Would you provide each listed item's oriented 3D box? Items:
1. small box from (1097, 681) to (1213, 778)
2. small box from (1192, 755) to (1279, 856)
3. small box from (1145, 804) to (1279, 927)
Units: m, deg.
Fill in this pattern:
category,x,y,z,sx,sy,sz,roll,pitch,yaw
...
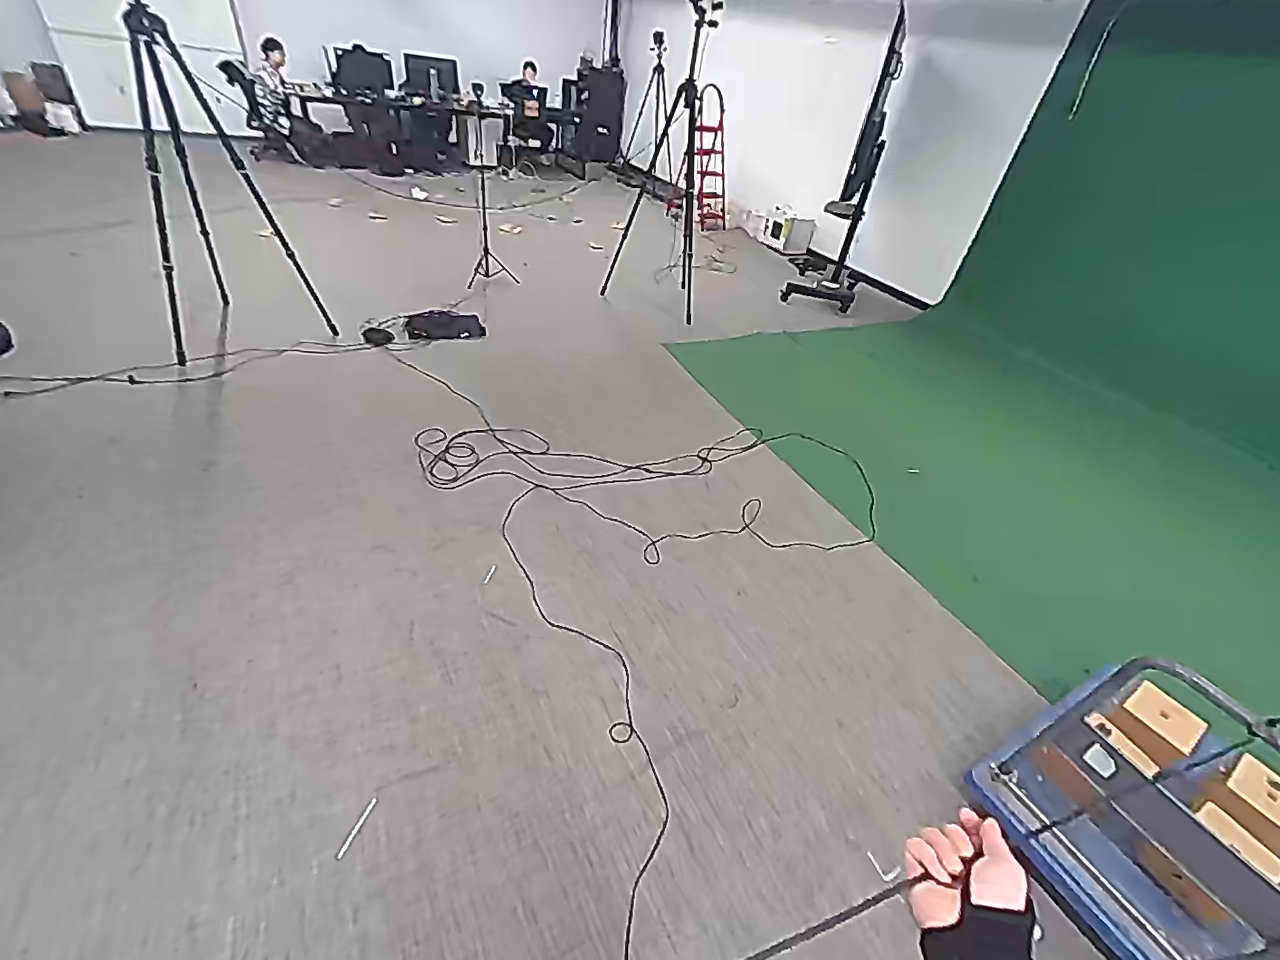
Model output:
category,x,y,z,sx,sy,sz,roll,pitch,yaw
small box,1.510,0.740,1.598,0.179,0.176,0.168,-17,45,-29
small box,1.646,0.883,1.442,0.179,0.176,0.168,-18,44,-28
small box,1.410,0.944,1.325,0.179,0.176,0.168,-14,43,-25
